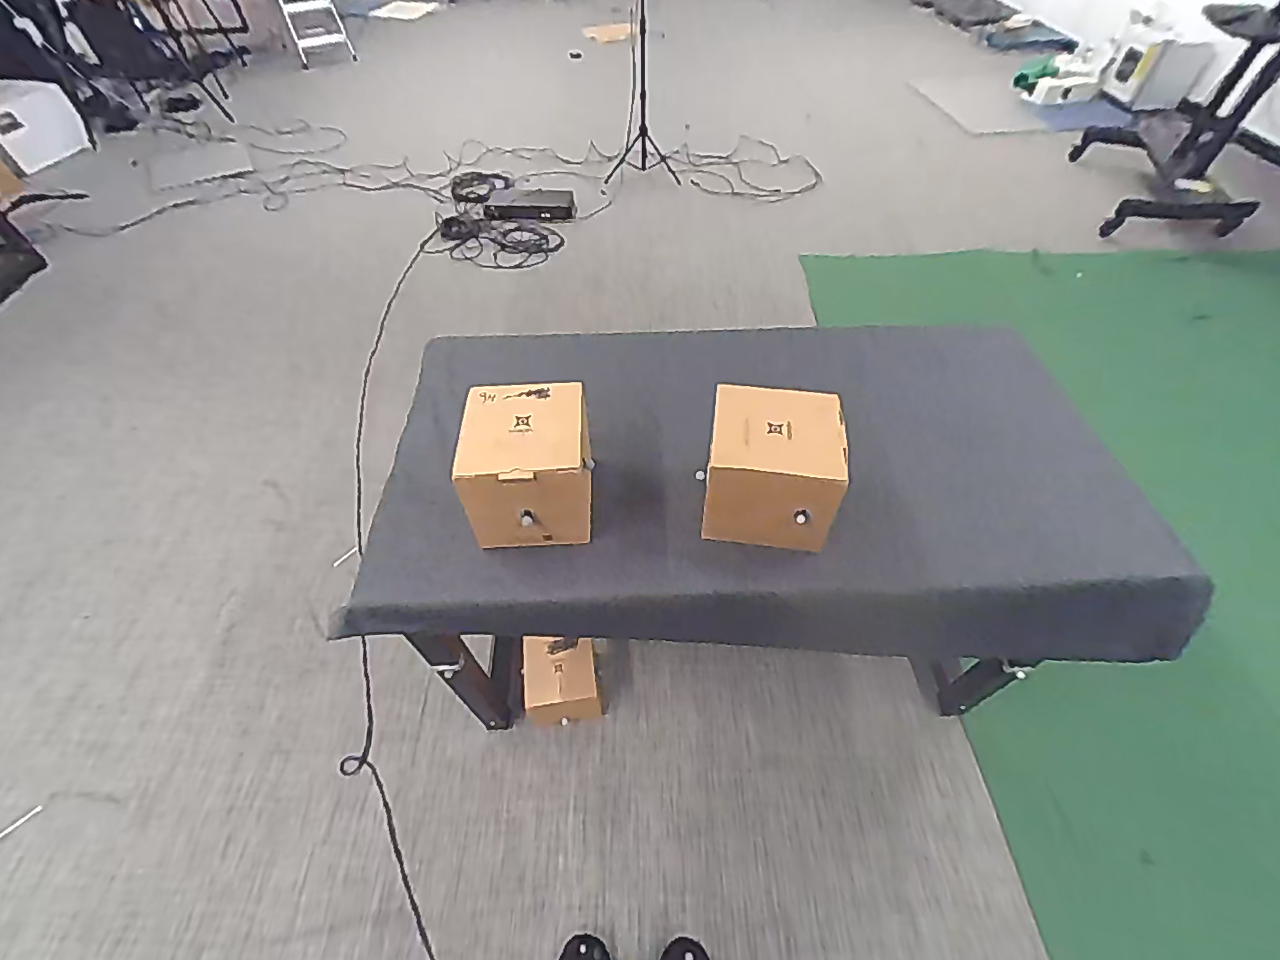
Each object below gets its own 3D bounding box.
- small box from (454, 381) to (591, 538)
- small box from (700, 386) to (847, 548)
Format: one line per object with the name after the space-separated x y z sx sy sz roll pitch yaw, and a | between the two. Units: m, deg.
-0.160 -0.024 0.802 0.168 0.176 0.179 -2 50 -2 | small box
0.188 -0.016 0.799 0.179 0.176 0.168 6 50 6 | small box
